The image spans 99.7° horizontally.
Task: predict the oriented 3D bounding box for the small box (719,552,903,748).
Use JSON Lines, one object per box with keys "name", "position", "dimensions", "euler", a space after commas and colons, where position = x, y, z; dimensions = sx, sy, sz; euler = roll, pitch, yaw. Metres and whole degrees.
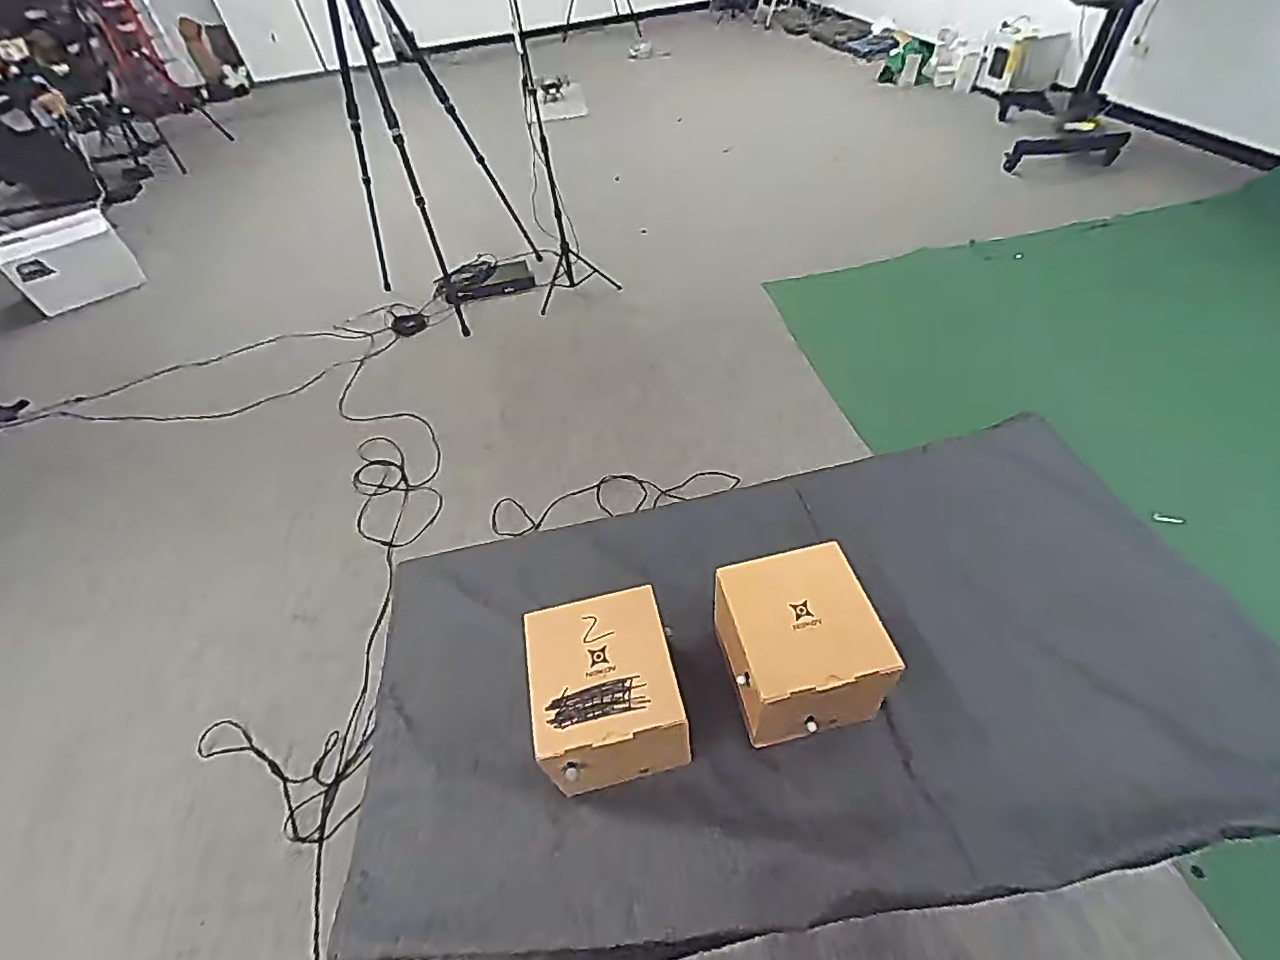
{"name": "small box", "position": [0.206, 0.225, 0.714], "dimensions": [0.168, 0.176, 0.179], "euler": [-13, 49, -4]}
